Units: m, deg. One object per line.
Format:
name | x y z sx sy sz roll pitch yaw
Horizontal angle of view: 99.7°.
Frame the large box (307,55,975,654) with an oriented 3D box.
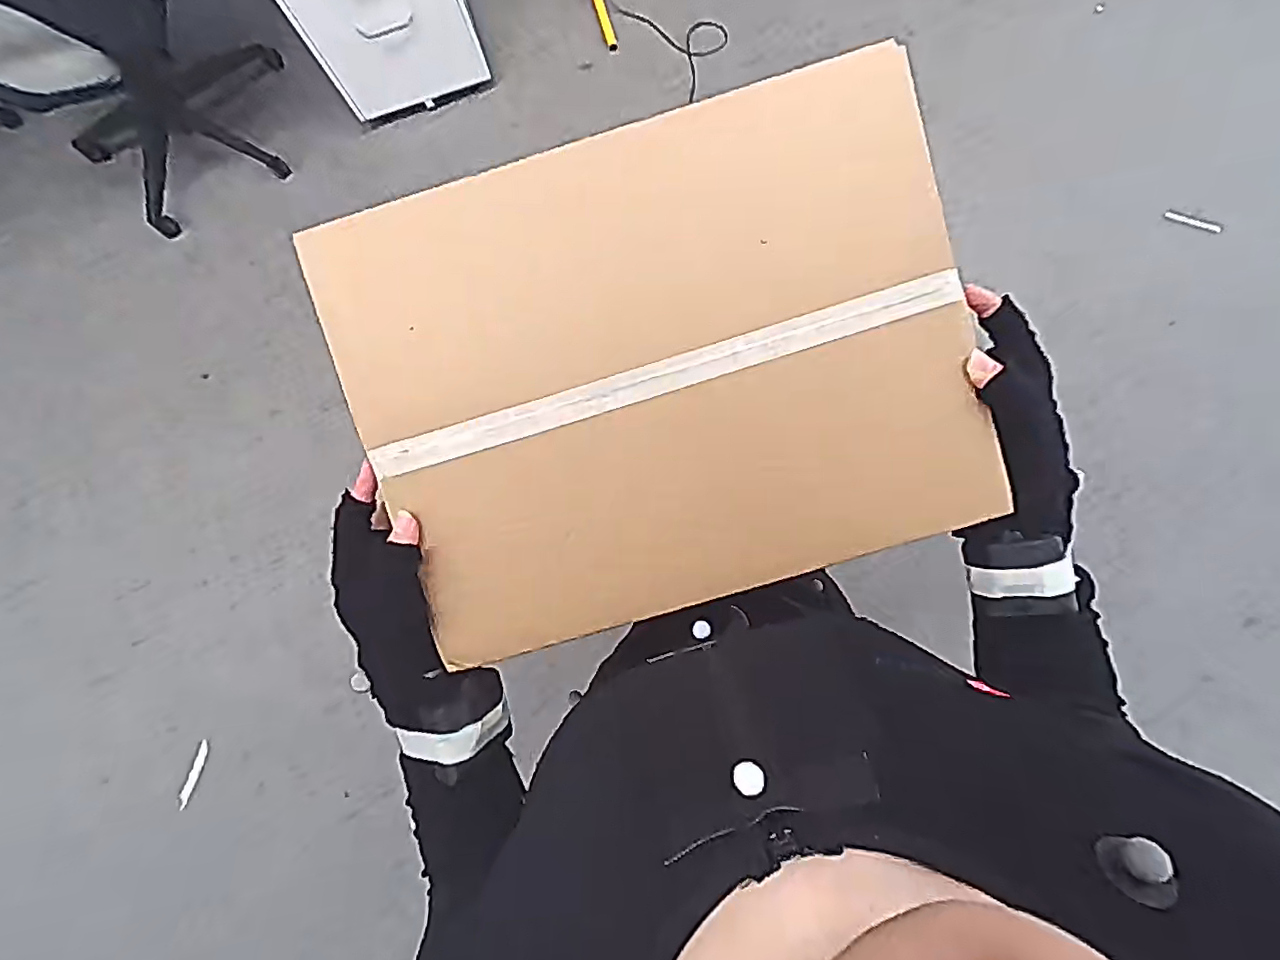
large box | 0.008 -0.092 0.520 0.408 0.320 0.320 -17 95 2
